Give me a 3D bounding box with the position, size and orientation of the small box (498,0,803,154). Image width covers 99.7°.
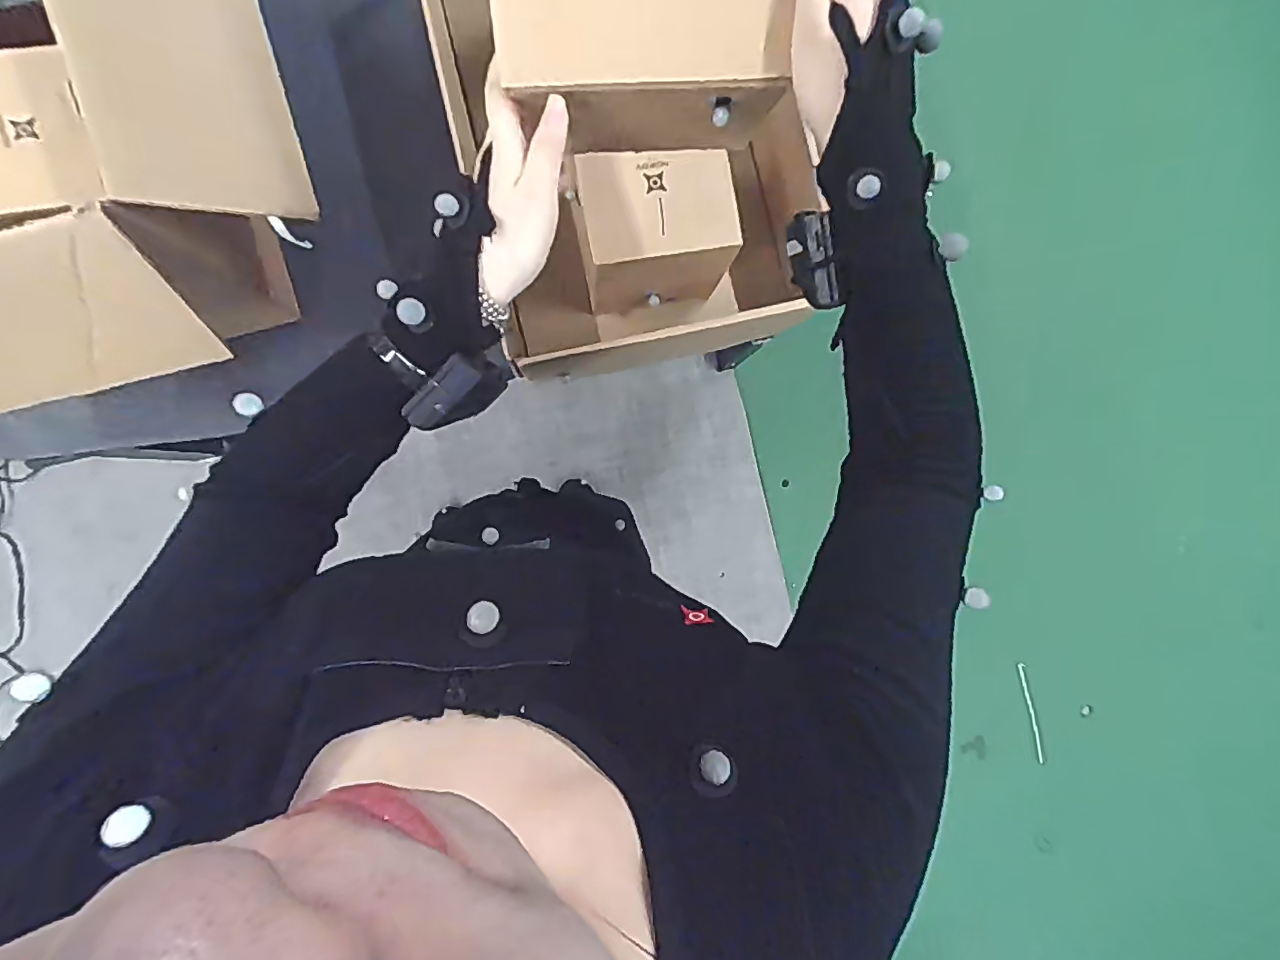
[{"bbox_3d":[0.004,-0.335,0.368,0.179,0.176,0.168,-3,110,0],"label":"small box"}]
